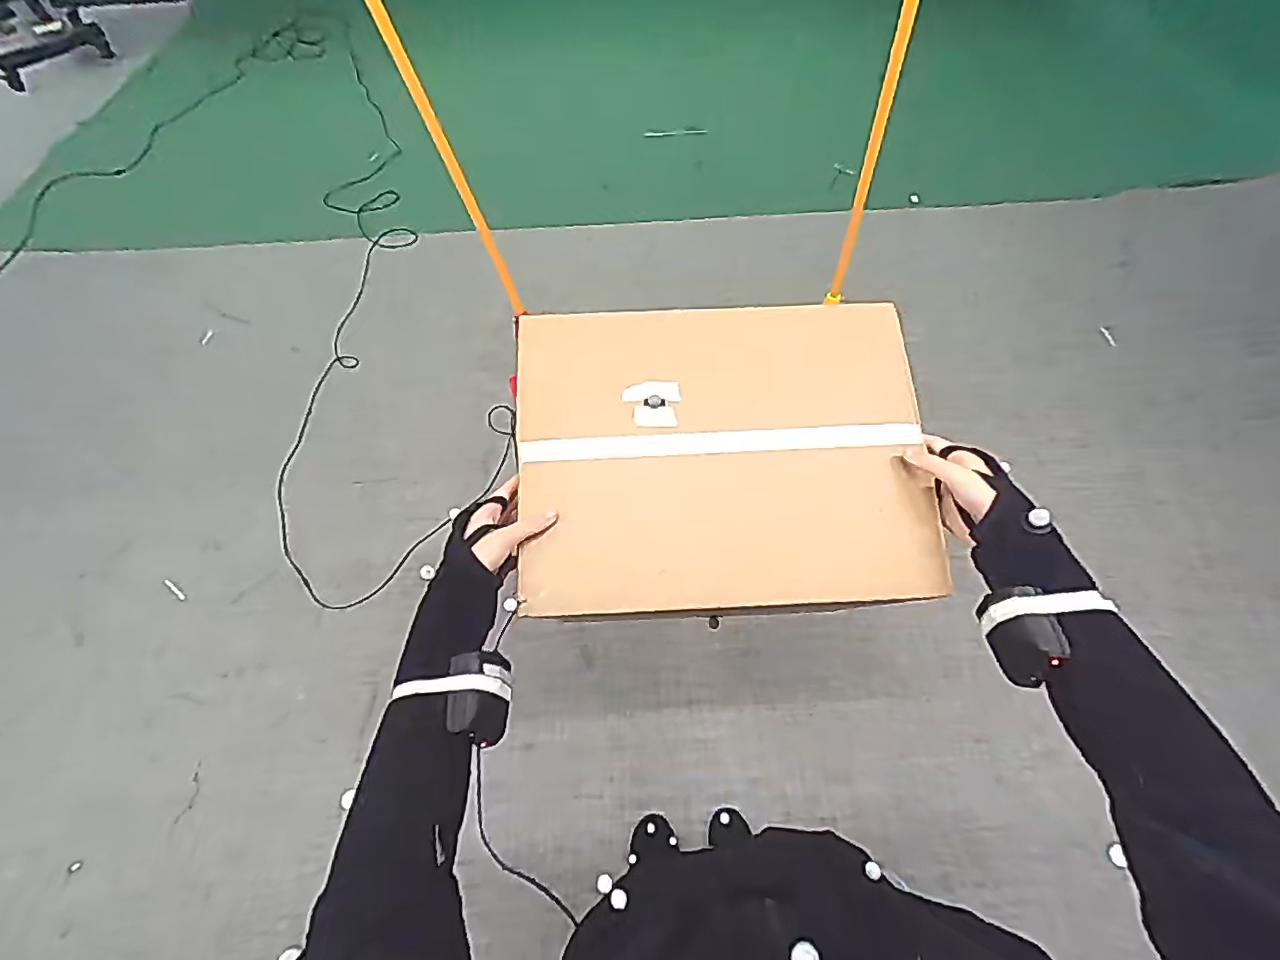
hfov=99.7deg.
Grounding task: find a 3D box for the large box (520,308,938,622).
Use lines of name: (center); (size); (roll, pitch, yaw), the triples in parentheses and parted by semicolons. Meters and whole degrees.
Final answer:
large box: (0.081, 0.010, 0.692); (0.408, 0.320, 0.320); (-3, 74, 0)
